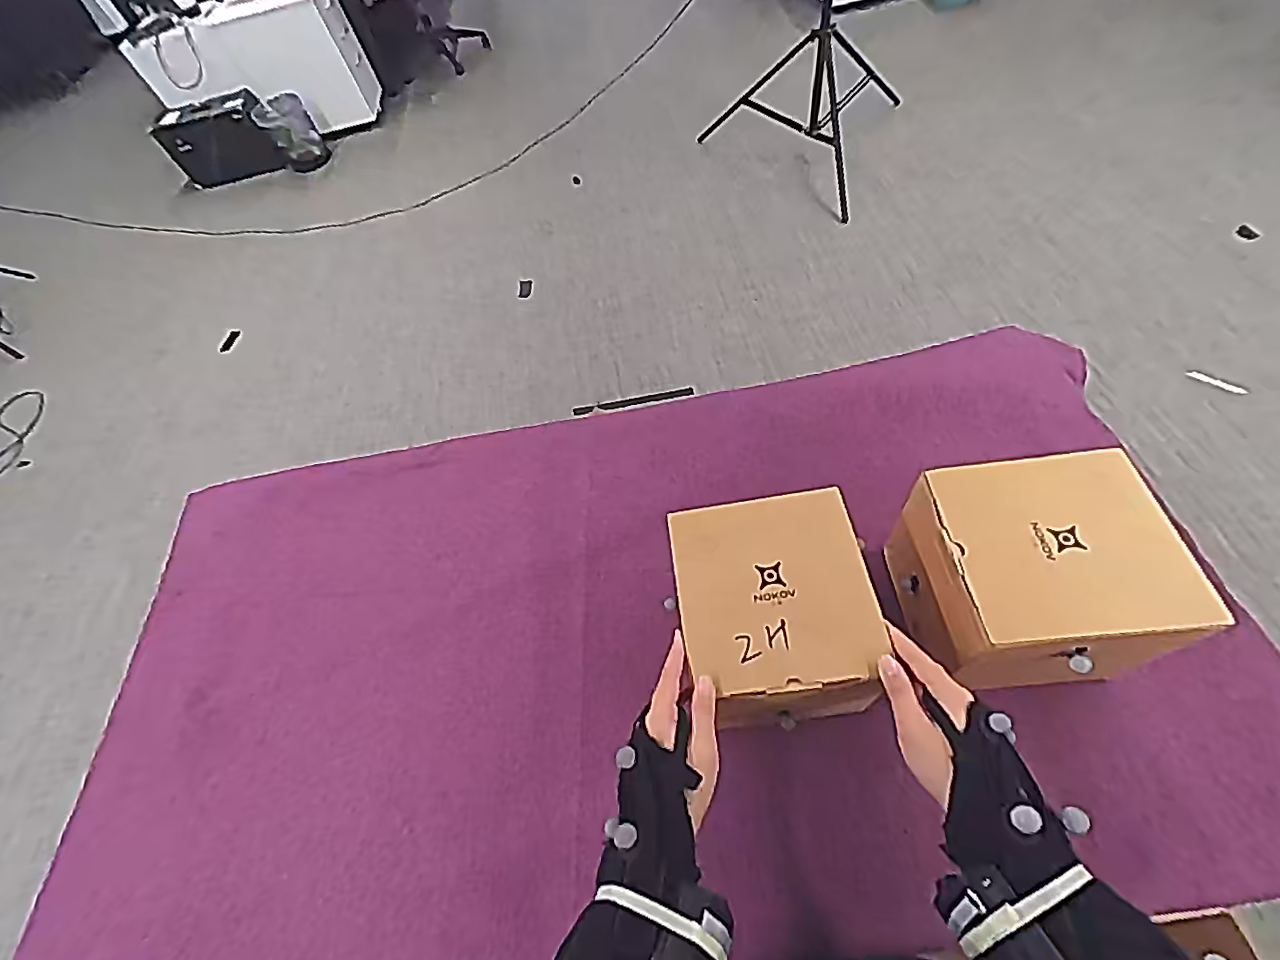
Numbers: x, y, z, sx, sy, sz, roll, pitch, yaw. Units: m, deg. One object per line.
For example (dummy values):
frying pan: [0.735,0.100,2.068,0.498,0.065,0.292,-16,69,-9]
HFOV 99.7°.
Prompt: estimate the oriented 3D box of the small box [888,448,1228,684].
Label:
small box: [0.366,0.091,0.522,0.179,0.176,0.168,-7,56,7]

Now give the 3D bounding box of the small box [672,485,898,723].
small box: [0.129,0.130,0.541,0.168,0.176,0.179,-10,58,6]
